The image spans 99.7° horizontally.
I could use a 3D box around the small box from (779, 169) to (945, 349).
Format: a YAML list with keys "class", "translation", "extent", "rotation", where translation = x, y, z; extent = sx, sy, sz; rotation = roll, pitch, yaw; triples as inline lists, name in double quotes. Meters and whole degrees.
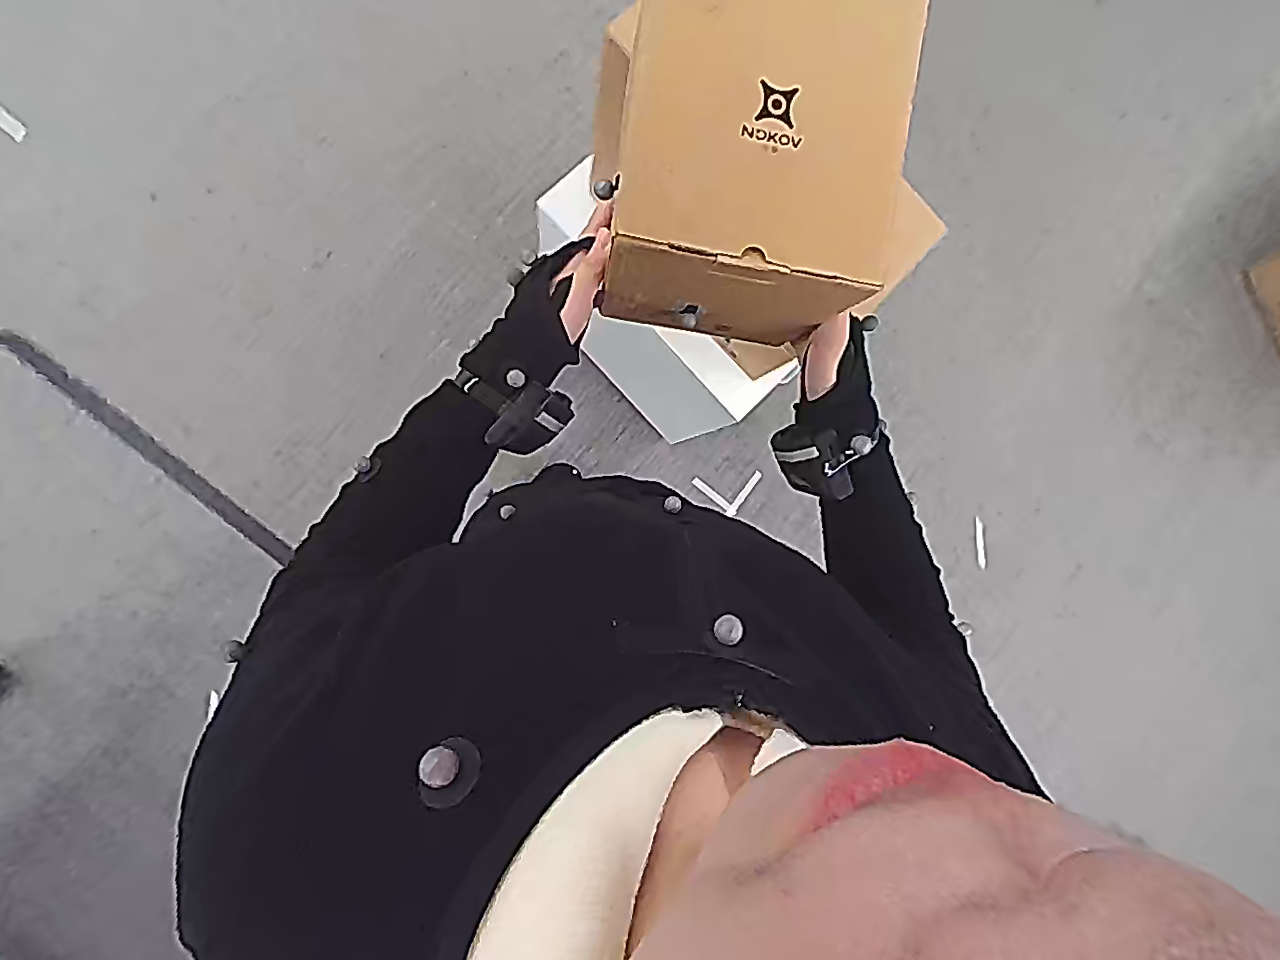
- class: "small box"
  translation: [0.244, -0.301, 0.716]
  extent: [0.168, 0.176, 0.179]
  rotation: [45, 83, -6]

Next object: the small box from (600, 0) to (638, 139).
- class: "small box"
  translation: [0.066, -0.491, 0.687]
  extent: [0.168, 0.176, 0.179]
  rotation: [-44, 97, -6]

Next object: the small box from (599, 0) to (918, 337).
- class: "small box"
  translation: [0.063, -0.215, 0.387]
  extent: [0.168, 0.176, 0.179]
  rotation: [6, 93, -8]
